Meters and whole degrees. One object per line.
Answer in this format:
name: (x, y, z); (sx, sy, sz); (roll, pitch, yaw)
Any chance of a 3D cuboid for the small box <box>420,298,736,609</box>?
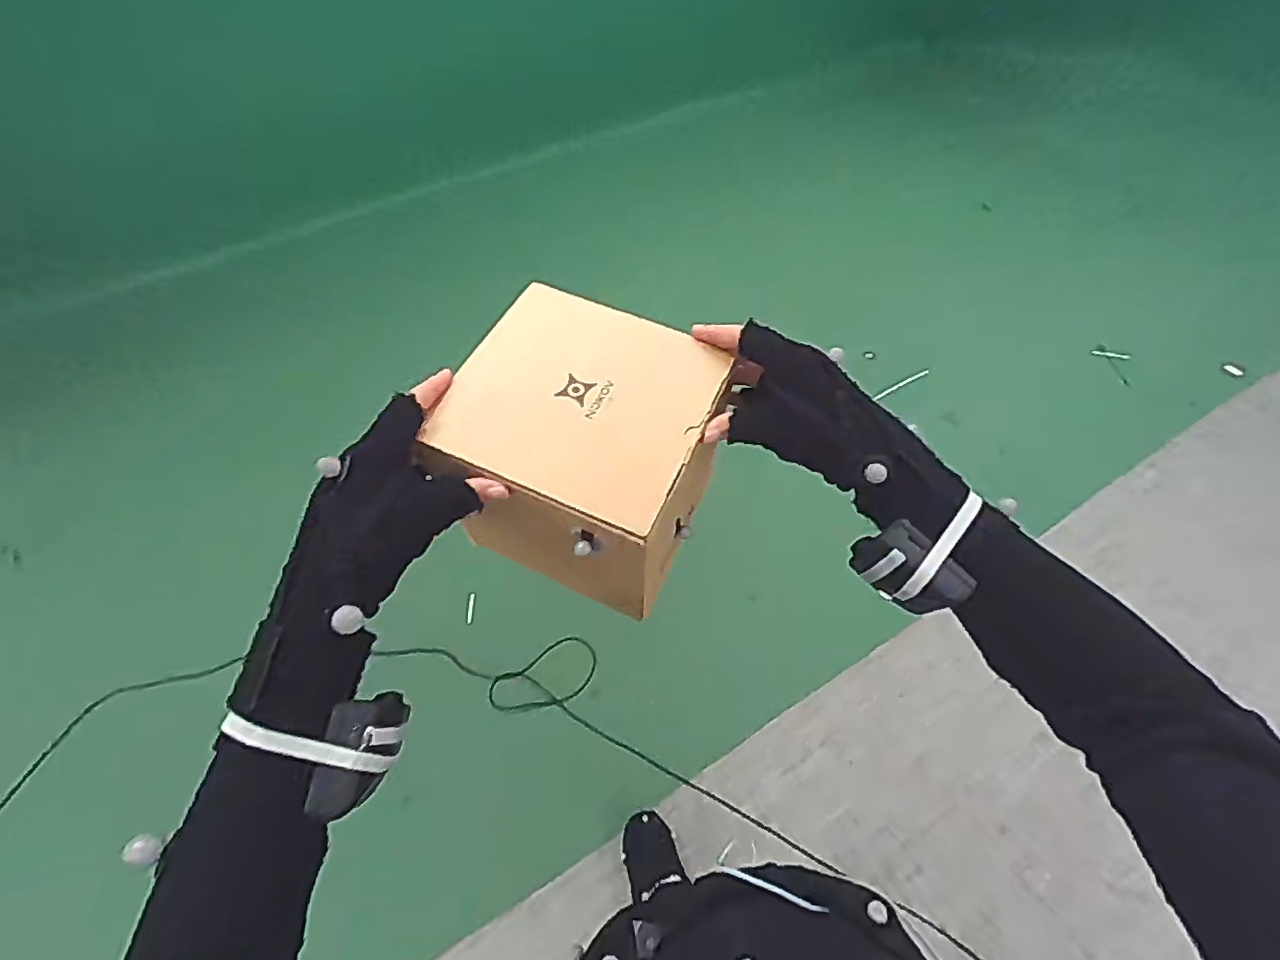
small box: (-0.042, -0.014, 0.453); (0.179, 0.176, 0.168); (23, 61, 11)
